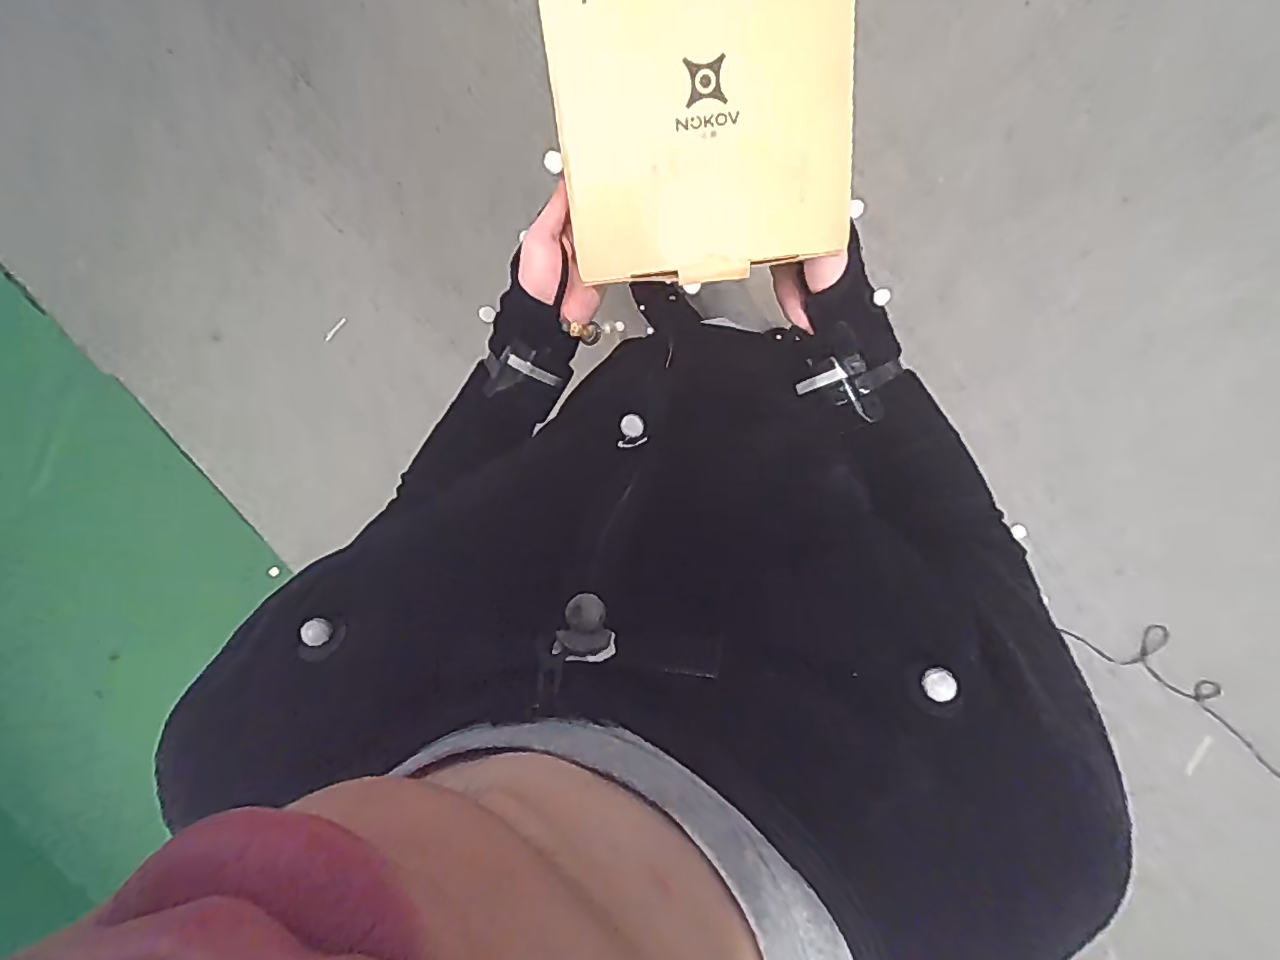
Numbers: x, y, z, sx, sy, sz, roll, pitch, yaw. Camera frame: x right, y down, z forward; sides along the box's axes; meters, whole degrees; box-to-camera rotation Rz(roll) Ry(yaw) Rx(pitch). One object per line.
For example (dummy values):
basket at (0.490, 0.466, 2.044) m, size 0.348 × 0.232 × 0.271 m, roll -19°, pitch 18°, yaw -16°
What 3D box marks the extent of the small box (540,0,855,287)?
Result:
small box at (0.030, -0.238, 0.371) m, size 0.168 × 0.176 × 0.179 m, roll -7°, pitch 113°, yaw -2°
